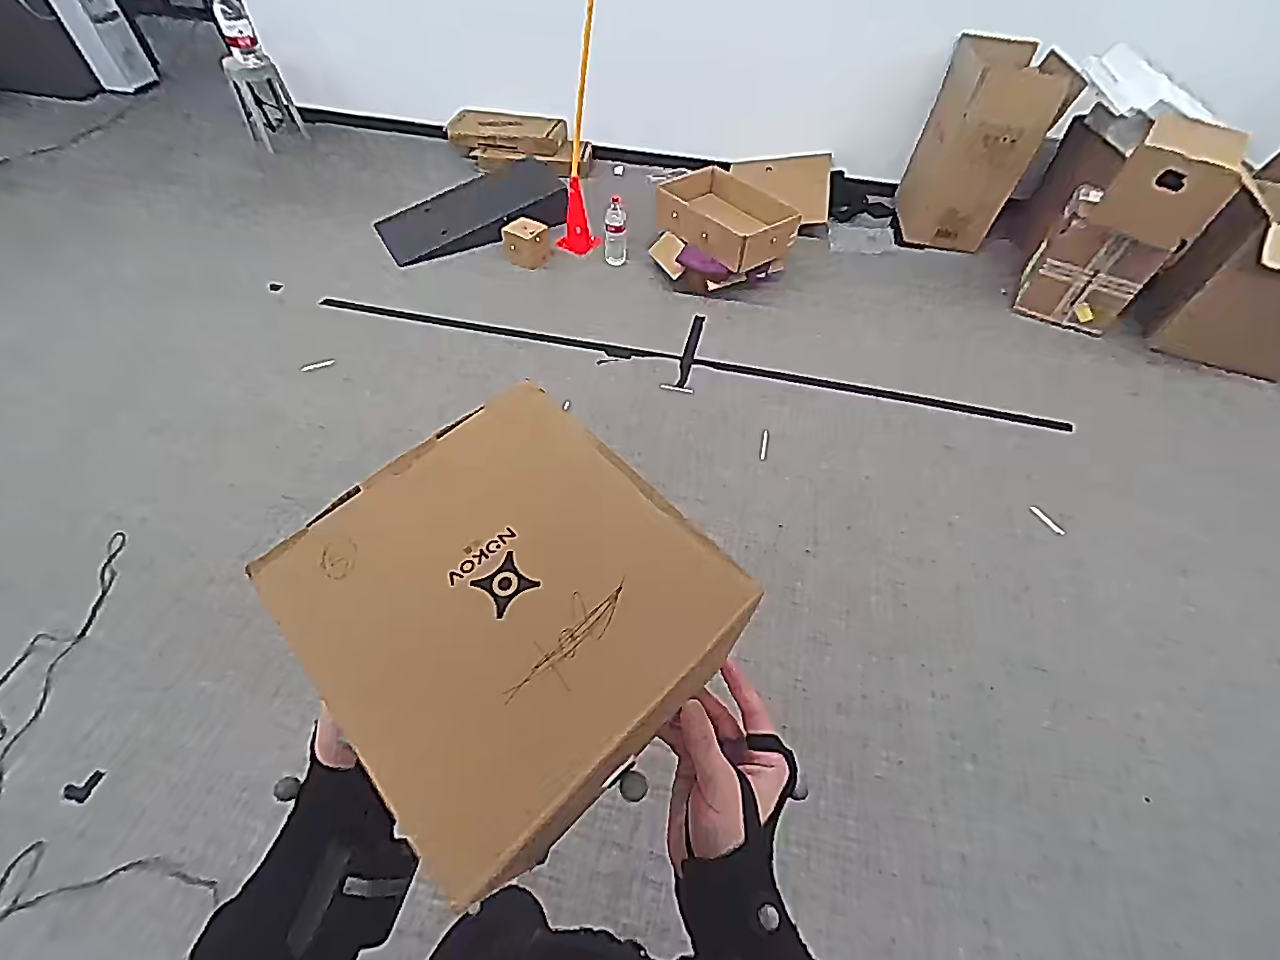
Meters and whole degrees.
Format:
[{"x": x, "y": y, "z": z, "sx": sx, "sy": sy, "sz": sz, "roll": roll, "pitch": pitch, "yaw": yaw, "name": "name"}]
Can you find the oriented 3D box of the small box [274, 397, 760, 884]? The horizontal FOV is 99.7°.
[{"x": -0.060, "y": 0.091, "z": 0.325, "sx": 0.168, "sy": 0.176, "sz": 0.179, "roll": -41, "pitch": 68, "yaw": -20, "name": "small box"}]
